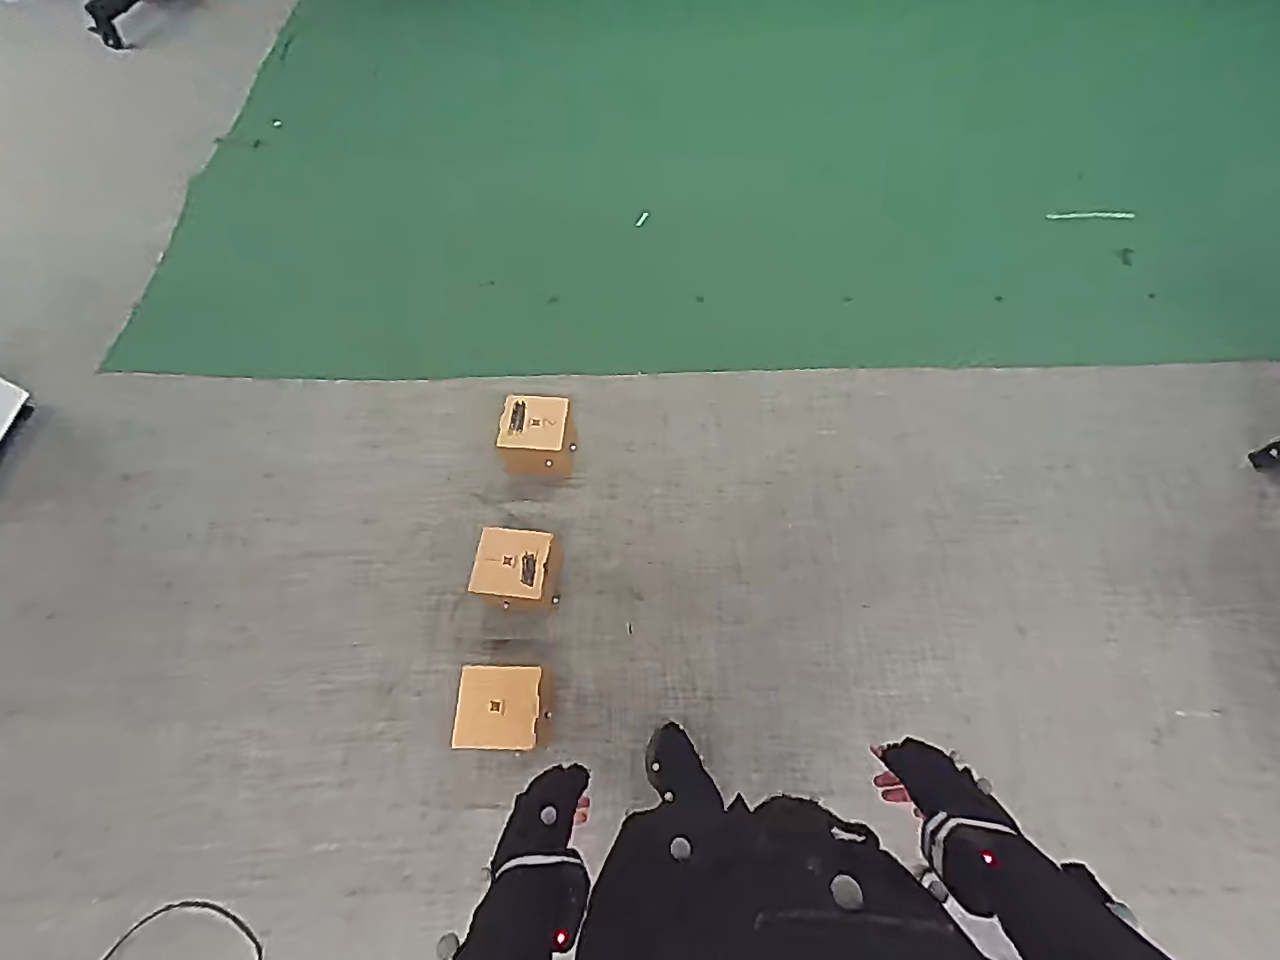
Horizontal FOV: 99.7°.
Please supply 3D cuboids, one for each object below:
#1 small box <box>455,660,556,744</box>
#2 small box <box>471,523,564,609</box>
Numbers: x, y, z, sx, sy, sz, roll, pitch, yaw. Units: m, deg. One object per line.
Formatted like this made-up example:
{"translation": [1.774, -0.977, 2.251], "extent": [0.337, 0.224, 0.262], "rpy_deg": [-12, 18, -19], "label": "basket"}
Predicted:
{"translation": [-0.295, 0.507, 1.228], "extent": [0.179, 0.176, 0.168], "rpy_deg": [0, 65, 1], "label": "small box"}
{"translation": [-0.298, 0.221, 1.360], "extent": [0.179, 0.176, 0.168], "rpy_deg": [5, 65, 5], "label": "small box"}
